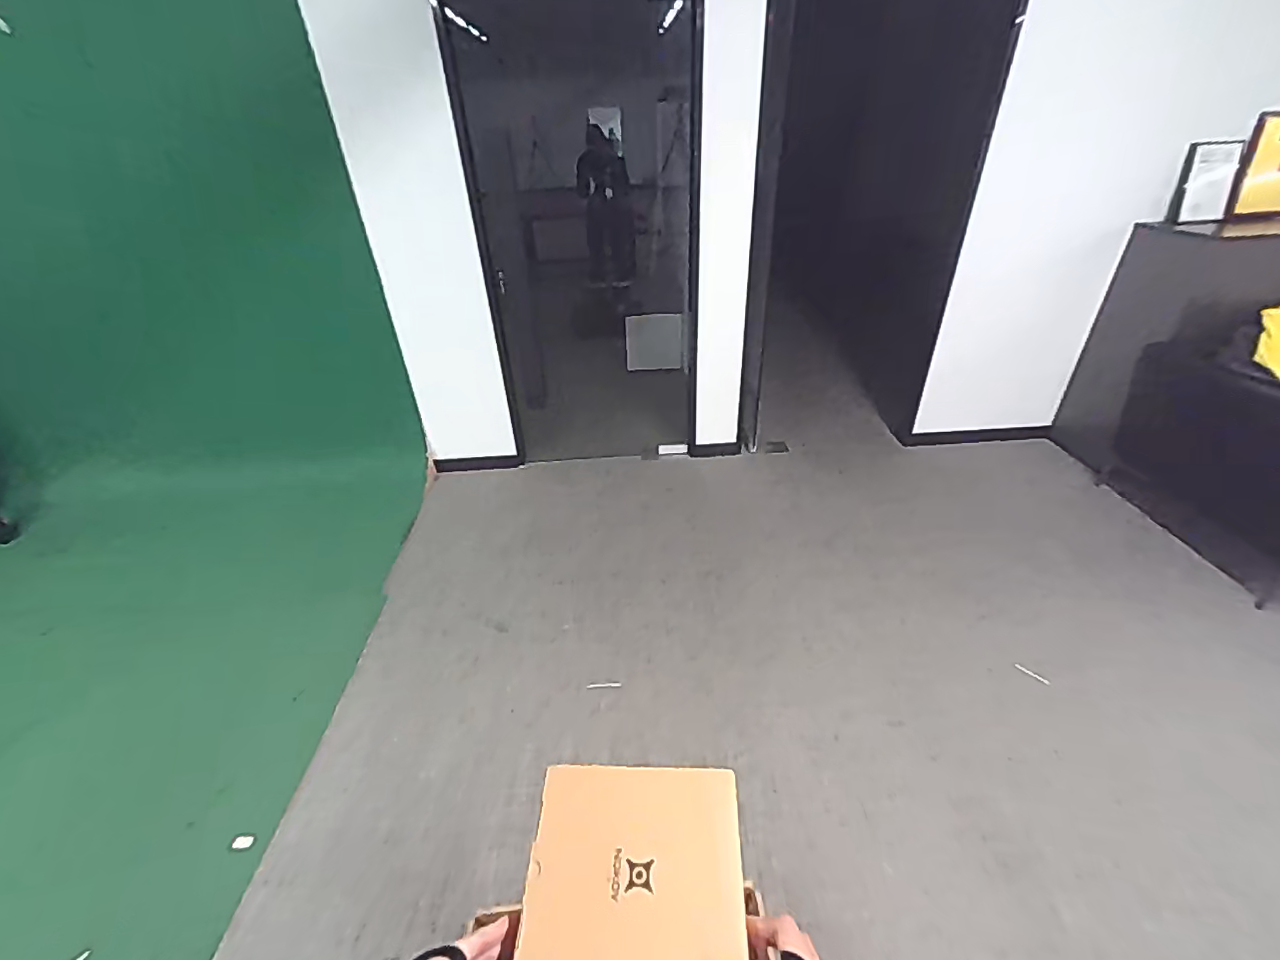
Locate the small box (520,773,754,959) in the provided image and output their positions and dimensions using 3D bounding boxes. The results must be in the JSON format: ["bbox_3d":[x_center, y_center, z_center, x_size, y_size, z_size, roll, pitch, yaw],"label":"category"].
[{"bbox_3d":[0.006,0.384,0.485,0.179,0.176,0.168,-3,40,6],"label":"small box"}]
